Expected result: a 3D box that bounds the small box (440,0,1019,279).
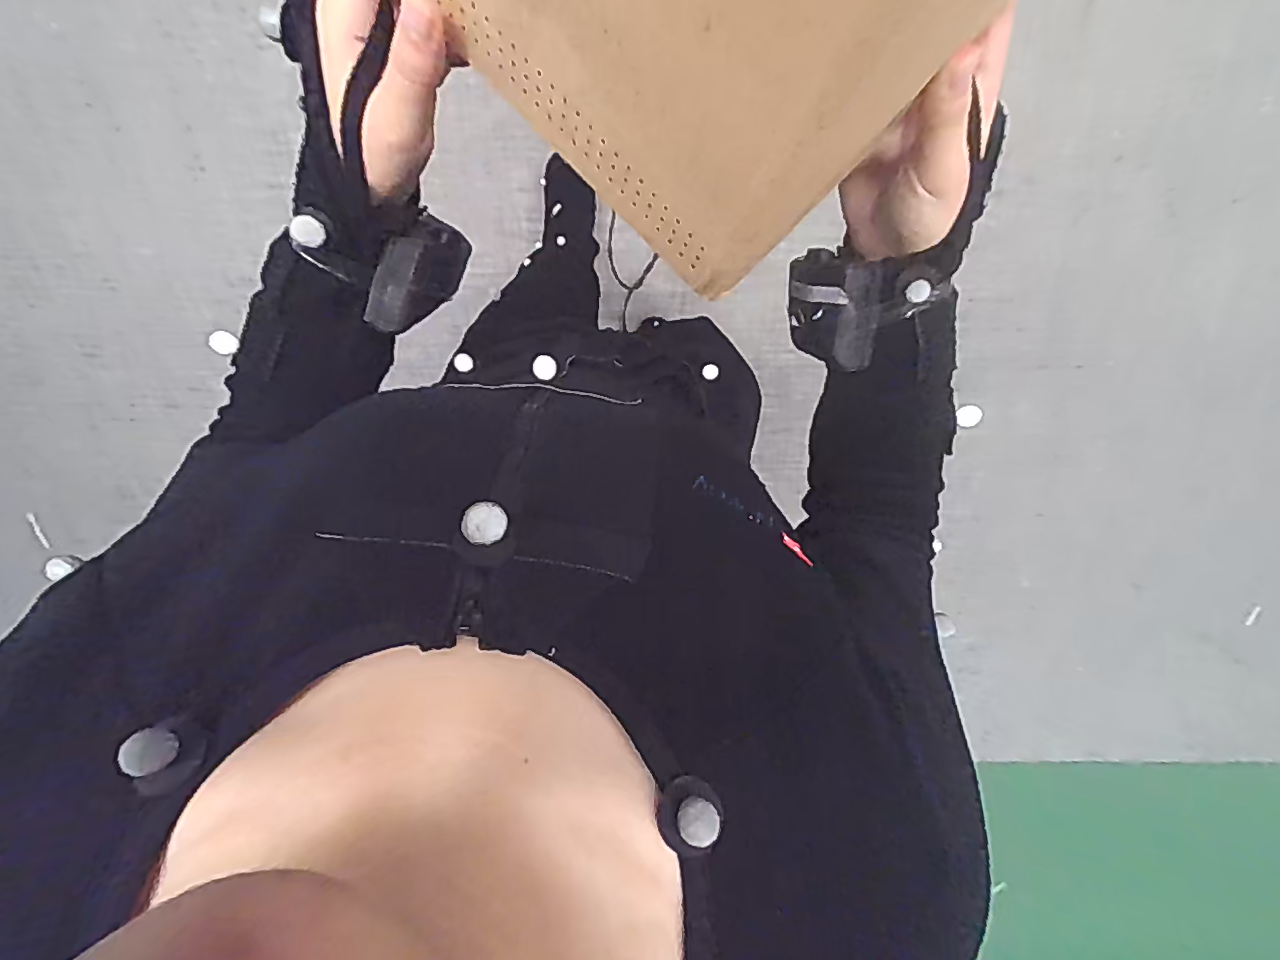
[{"bbox_3d":[0.039,-0.198,0.158,0.179,0.176,0.168,43,82,-2],"label":"small box"}]
